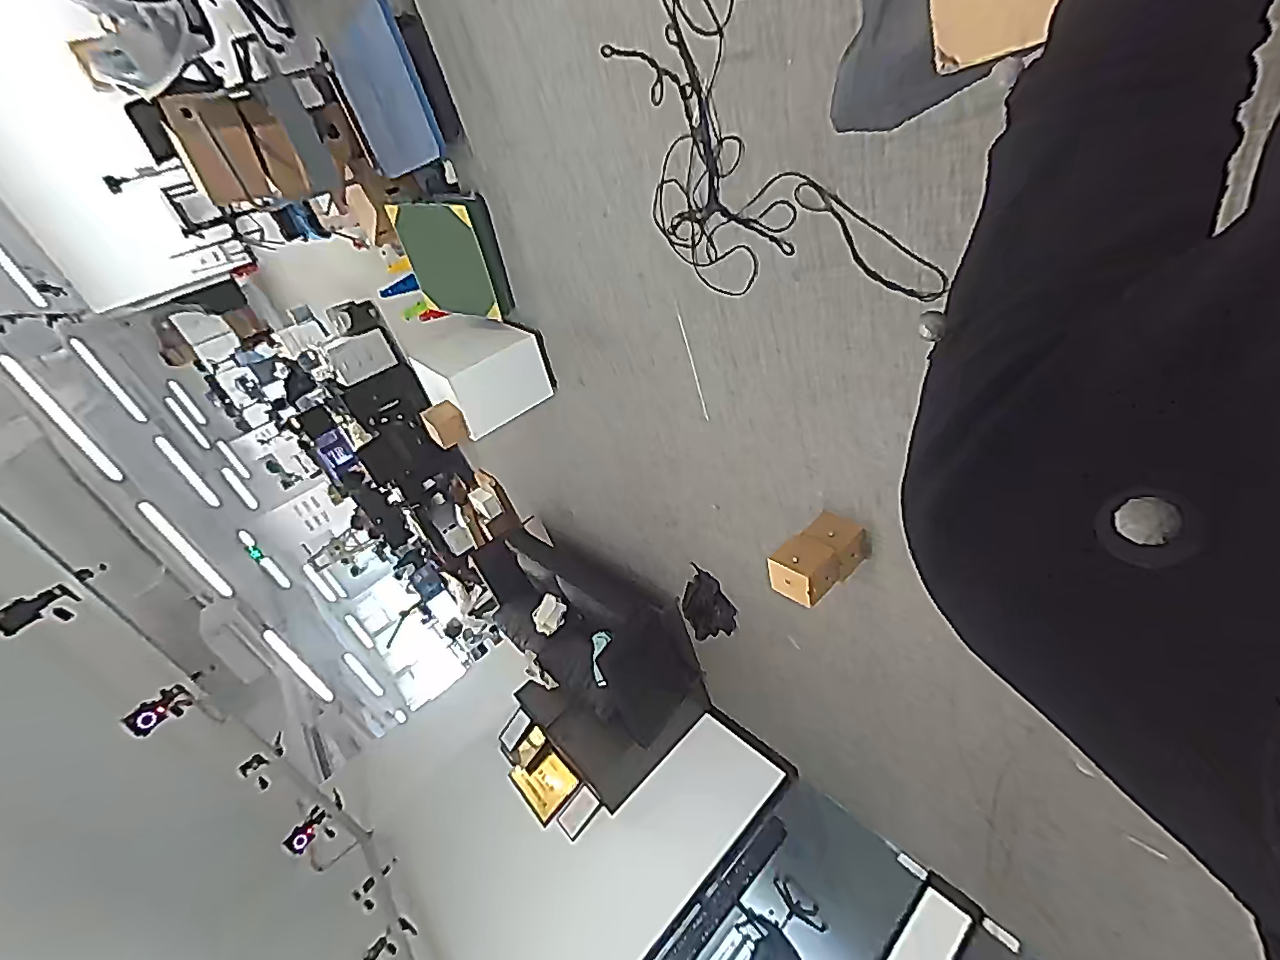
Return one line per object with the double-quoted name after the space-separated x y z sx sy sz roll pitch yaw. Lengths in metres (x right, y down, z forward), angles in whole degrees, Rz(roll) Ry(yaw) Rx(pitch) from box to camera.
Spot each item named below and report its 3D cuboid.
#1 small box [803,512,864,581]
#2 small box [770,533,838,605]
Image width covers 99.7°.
0.734 0.245 2.053 0.179 0.176 0.168 24 141 45 "small box"
0.604 0.319 1.985 0.179 0.176 0.168 24 141 45 "small box"
